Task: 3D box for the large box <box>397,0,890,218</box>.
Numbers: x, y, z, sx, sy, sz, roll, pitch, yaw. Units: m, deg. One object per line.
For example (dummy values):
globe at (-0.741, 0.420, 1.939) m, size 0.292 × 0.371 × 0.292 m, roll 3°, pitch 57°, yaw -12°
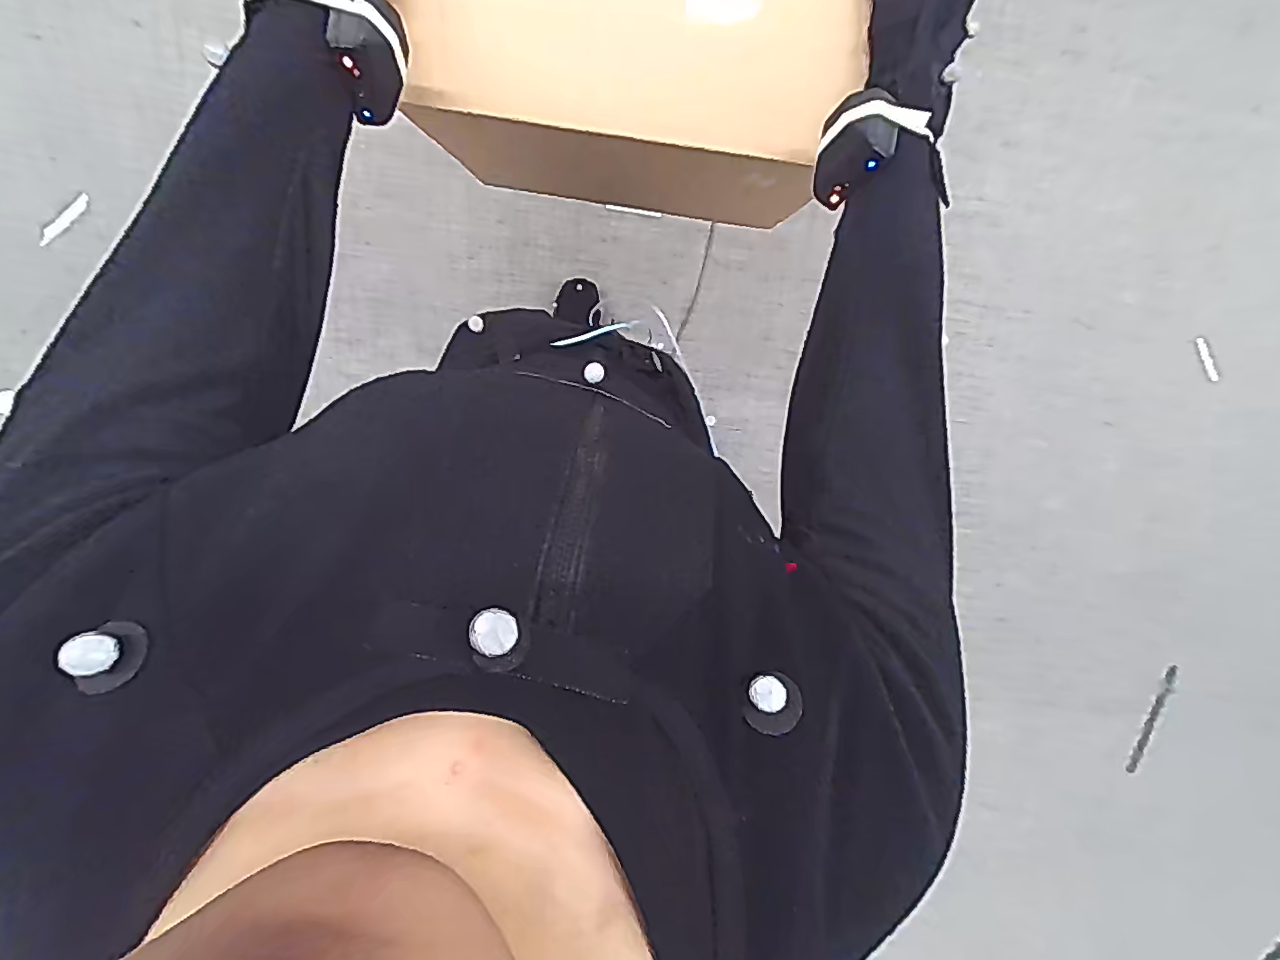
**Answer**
large box at (0.010, -0.491, 0.563) m, size 0.408 × 0.320 × 0.320 m, roll 8°, pitch 108°, yaw -3°
